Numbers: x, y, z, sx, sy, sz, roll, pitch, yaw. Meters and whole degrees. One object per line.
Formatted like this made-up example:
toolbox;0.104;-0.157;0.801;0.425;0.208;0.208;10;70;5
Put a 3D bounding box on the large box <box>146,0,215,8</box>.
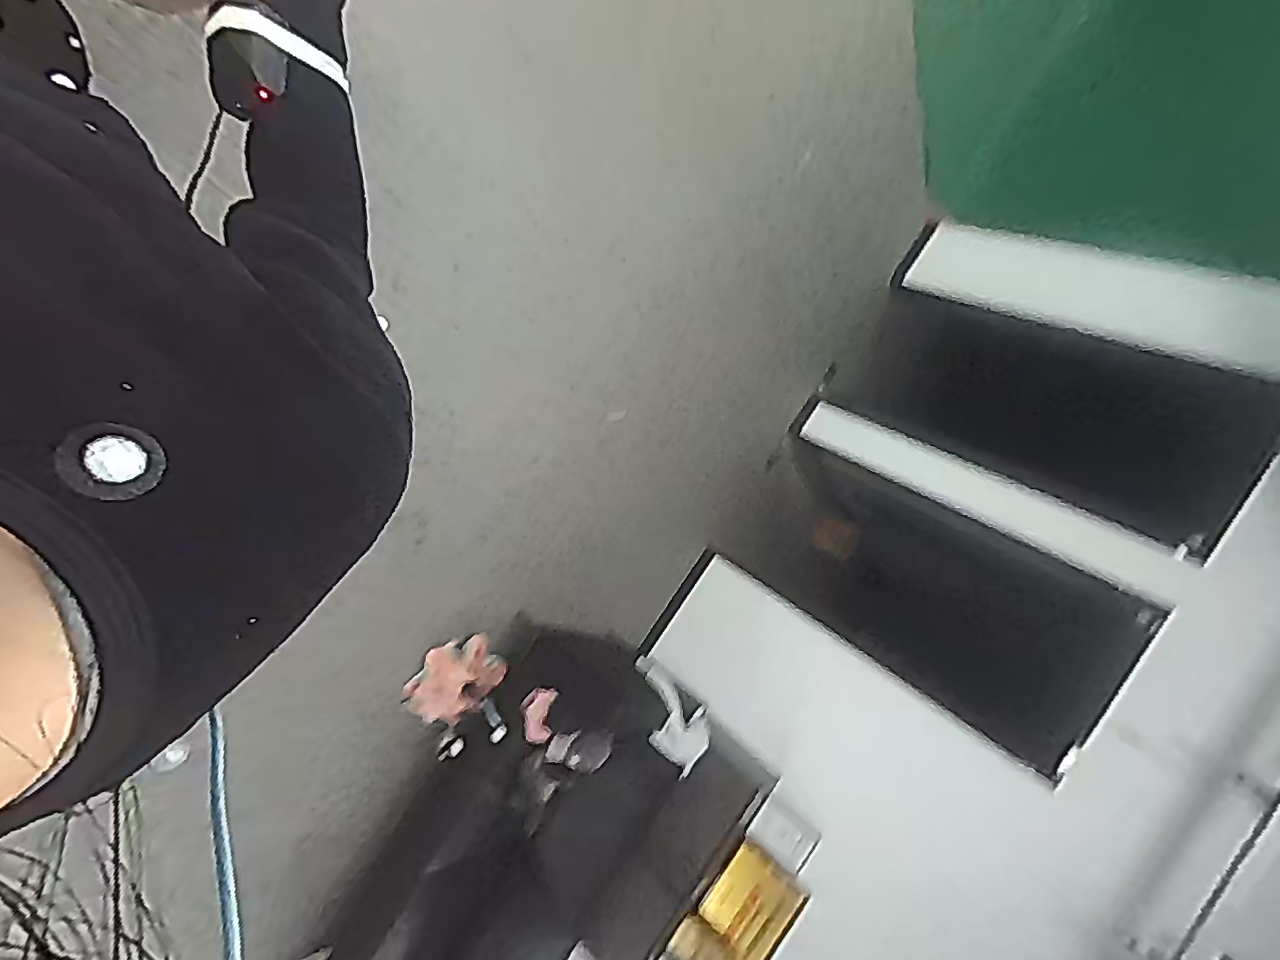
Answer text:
large box;-0.485;-0.534;0.291;0.408;0.320;0.320;-12;124;-46
